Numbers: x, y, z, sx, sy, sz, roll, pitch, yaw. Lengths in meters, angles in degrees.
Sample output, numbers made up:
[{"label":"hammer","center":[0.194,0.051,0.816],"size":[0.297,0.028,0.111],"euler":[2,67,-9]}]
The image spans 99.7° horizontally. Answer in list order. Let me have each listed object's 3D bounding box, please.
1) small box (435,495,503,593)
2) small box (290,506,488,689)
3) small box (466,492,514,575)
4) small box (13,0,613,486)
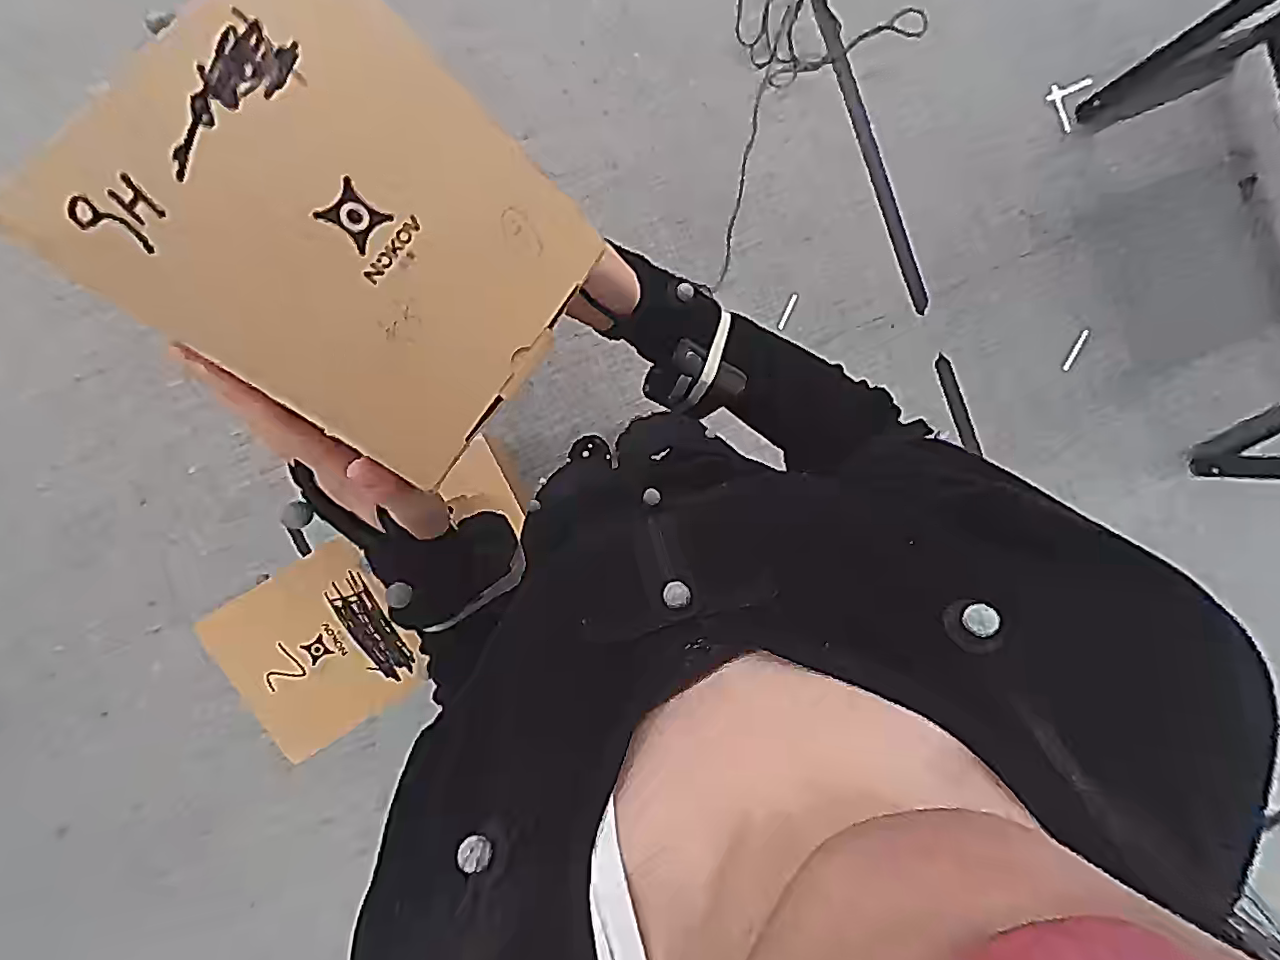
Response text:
[{"label":"small box","center":[-0.348,0.136,0.924],"size":[0.179,0.176,0.168],"euler":[-28,95,-4]},{"label":"small box","center":[-0.331,0.149,0.760],"size":[0.179,0.176,0.168],"euler":[-32,95,-5]},{"label":"small box","center":[-0.370,0.134,1.084],"size":[0.179,0.176,0.168],"euler":[-26,96,-5]},{"label":"small box","center":[-0.155,-0.121,0.307],"size":[0.179,0.176,0.168],"euler":[40,76,-32]}]
